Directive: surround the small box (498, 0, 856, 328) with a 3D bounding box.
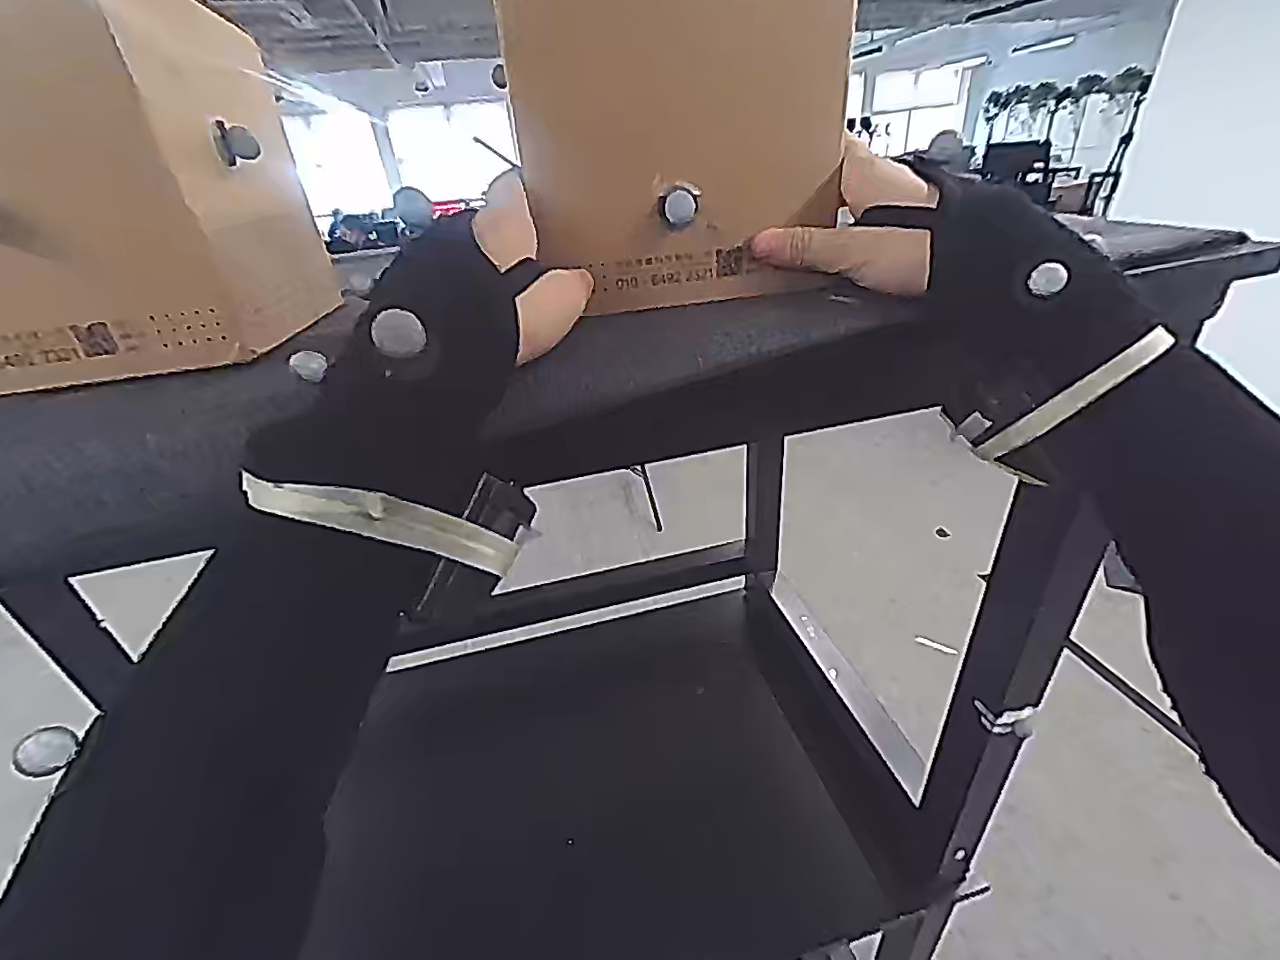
[{"bbox_3d":[0.013,-0.203,0.342,0.168,0.176,0.179,-8,30,-4],"label":"small box"}]

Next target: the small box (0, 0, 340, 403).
[{"bbox_3d":[-0.292,-0.146,0.296,0.168,0.176,0.179,-10,29,-9],"label":"small box"}]
